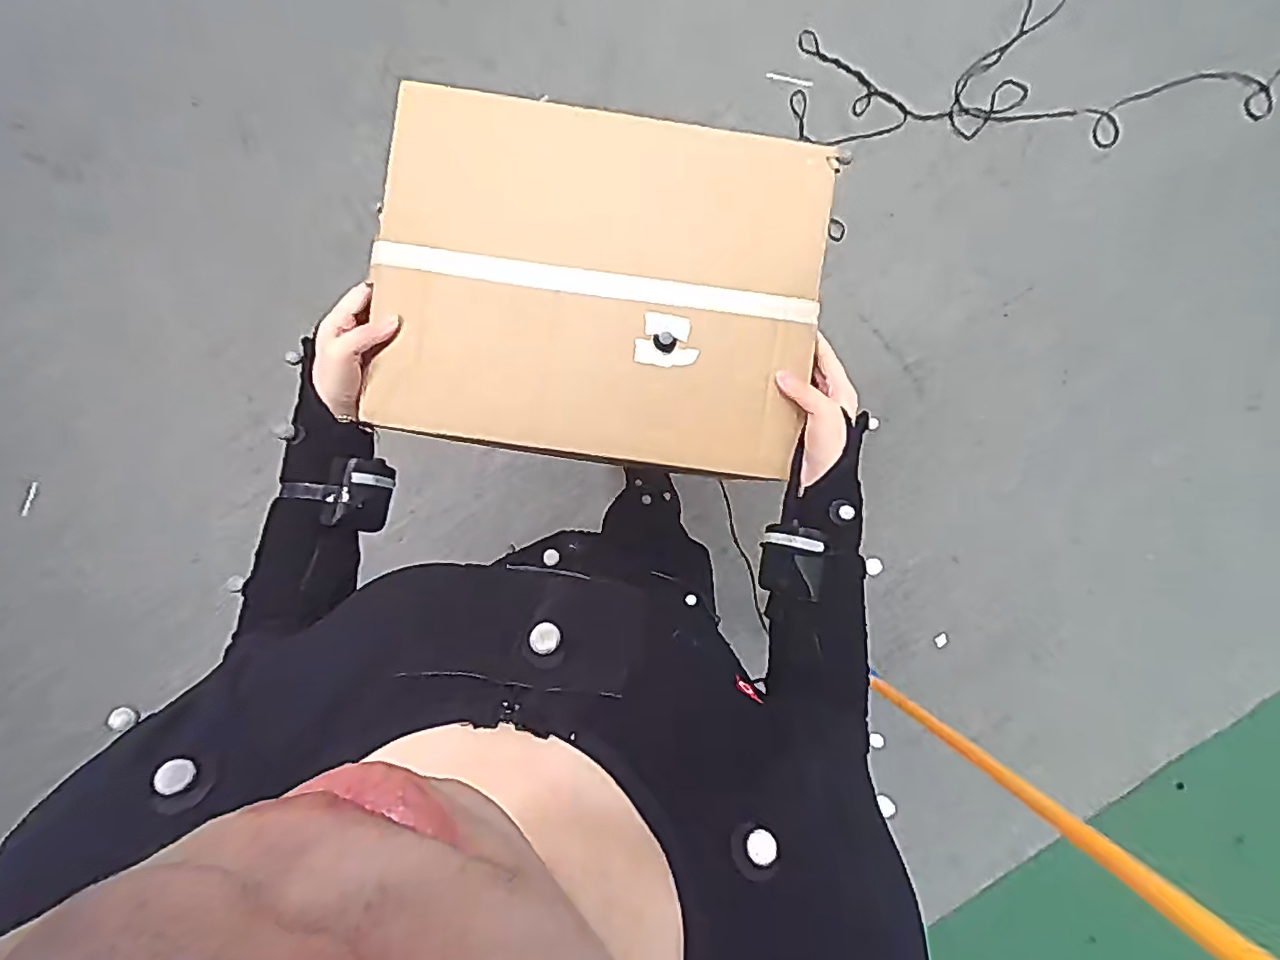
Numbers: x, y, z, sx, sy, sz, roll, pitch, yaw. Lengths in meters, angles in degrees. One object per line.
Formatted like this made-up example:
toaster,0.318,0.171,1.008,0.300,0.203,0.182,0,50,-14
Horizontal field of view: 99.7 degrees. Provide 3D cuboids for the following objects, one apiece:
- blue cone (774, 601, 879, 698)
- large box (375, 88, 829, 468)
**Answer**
blue cone,0.486,0.442,1.335,0.193,0.380,0.192,-23,89,-2
large box,-0.040,-0.190,0.654,0.408,0.320,0.320,7,91,-3
